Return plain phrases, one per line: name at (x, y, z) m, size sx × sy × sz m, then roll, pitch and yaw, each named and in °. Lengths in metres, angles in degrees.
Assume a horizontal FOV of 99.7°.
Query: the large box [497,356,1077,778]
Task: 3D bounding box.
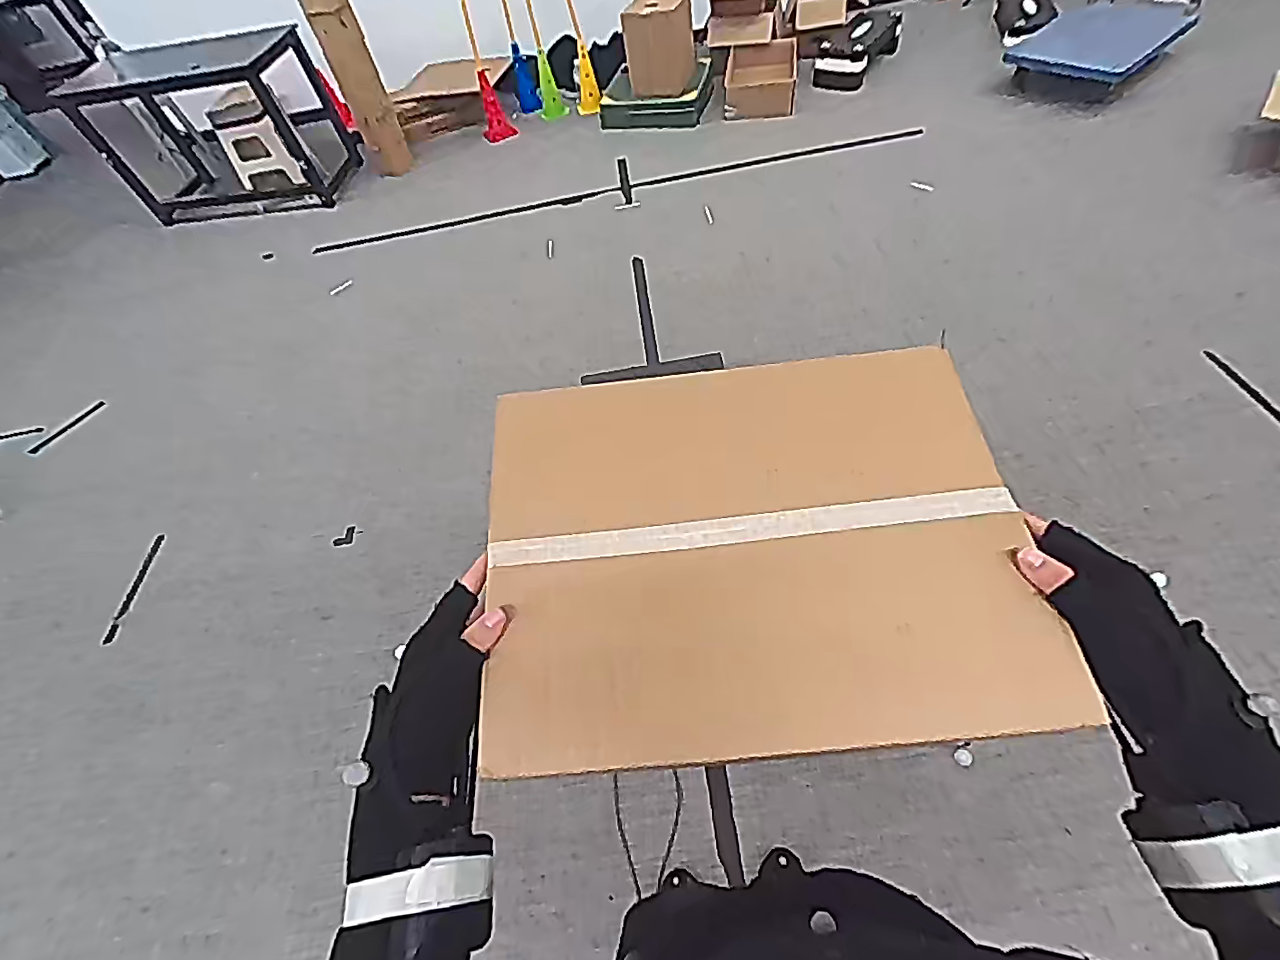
large box at (0.098, 0.111, 0.565) m, size 0.408 × 0.320 × 0.320 m, roll -7°, pitch 62°, yaw 2°
